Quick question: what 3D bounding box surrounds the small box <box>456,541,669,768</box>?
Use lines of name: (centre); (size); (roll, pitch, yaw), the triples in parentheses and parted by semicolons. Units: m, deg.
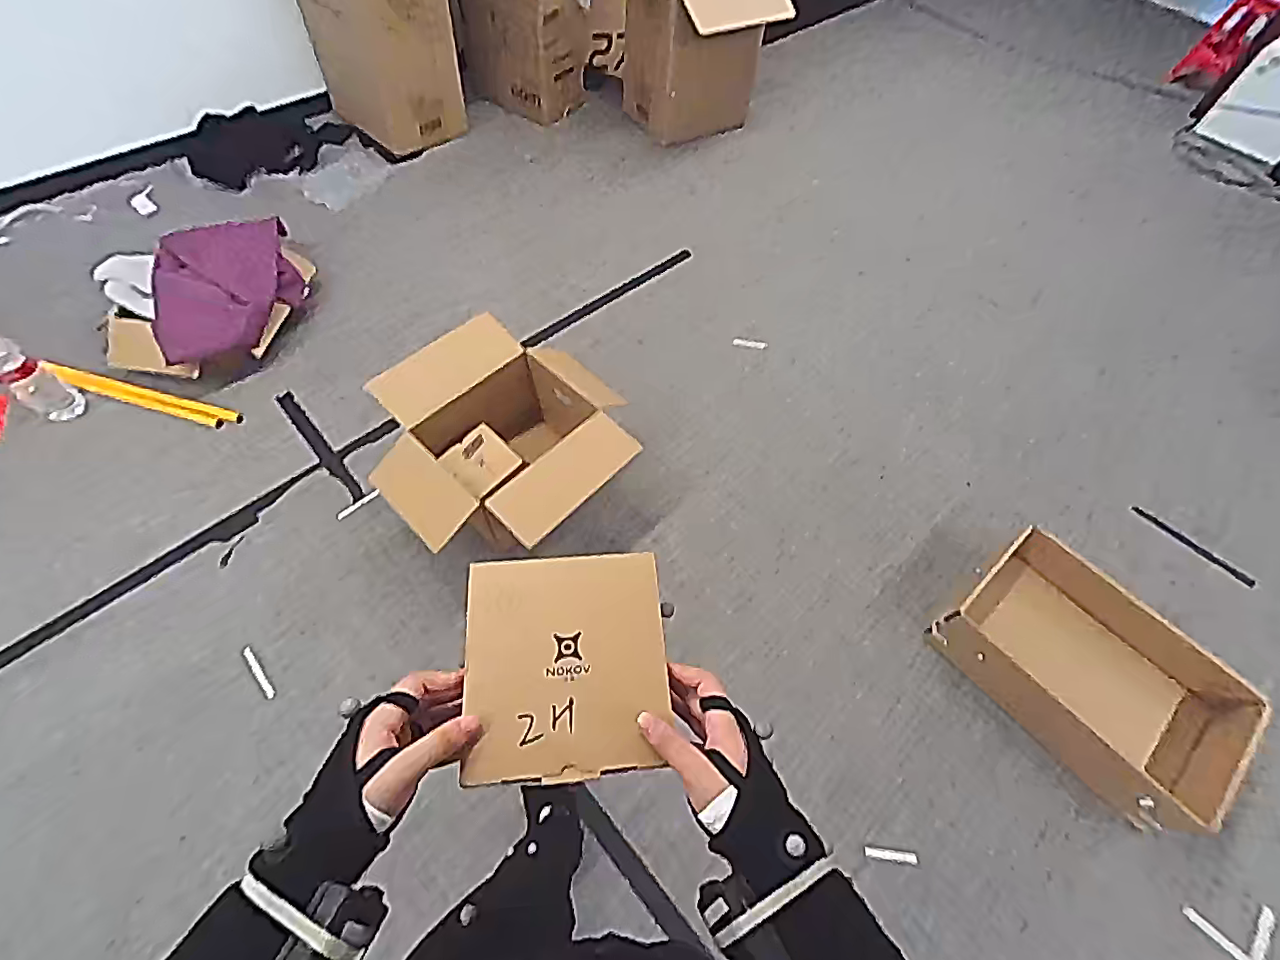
small box: (-0.070, 0.173, 0.522); (0.168, 0.176, 0.179); (-3, 63, -6)
